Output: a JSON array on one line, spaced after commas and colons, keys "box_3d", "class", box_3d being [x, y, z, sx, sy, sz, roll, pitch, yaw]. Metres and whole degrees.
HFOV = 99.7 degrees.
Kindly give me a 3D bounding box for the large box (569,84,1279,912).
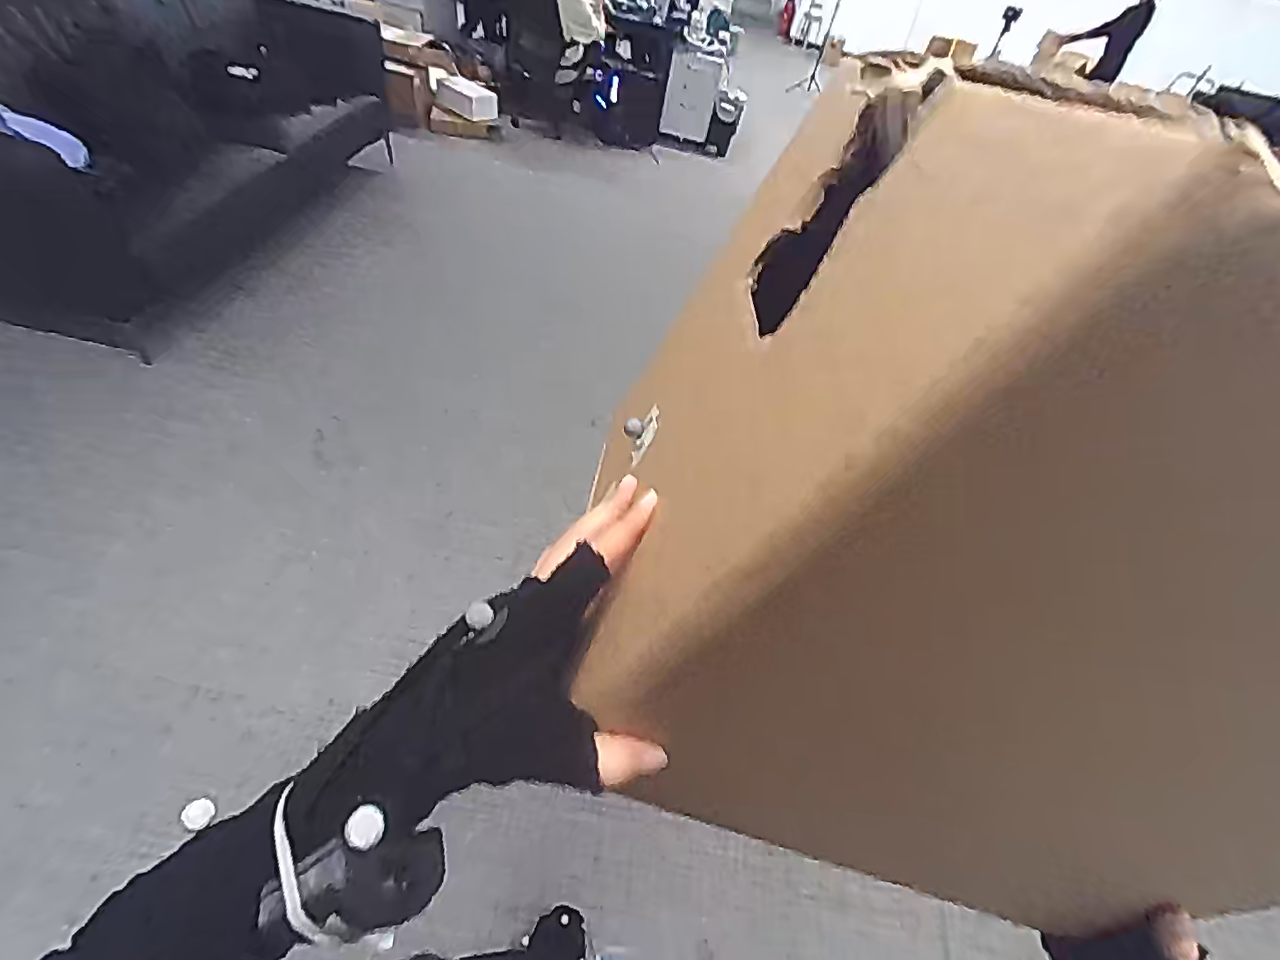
[{"box_3d": [0.212, 0.031, 0.356, 0.408, 0.320, 0.320, 27, 38, -16], "class": "large box"}]
